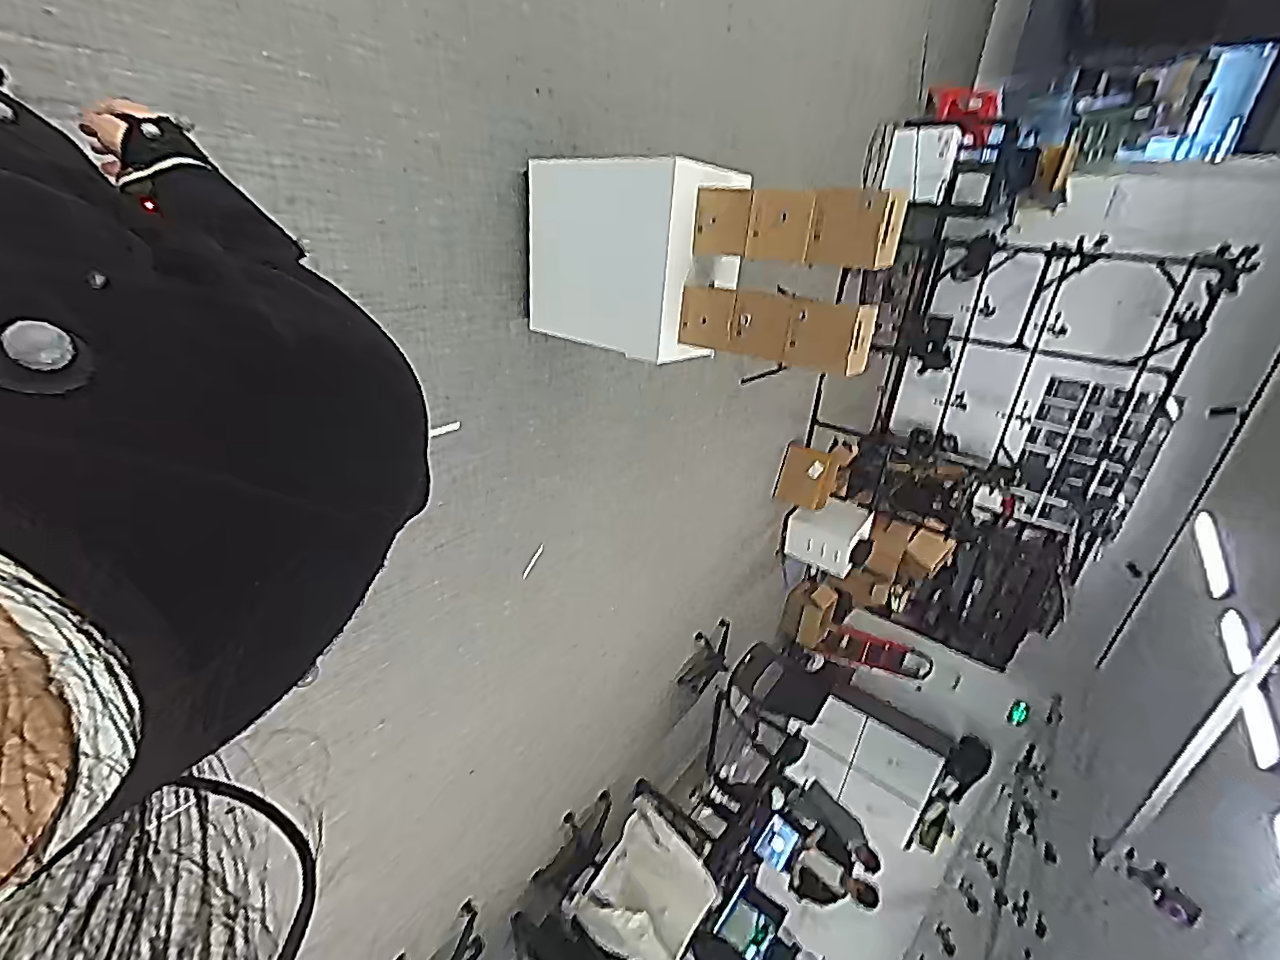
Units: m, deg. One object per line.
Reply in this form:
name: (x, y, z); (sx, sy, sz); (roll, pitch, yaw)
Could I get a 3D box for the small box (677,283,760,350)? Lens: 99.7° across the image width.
small box: (0.226, -0.480, 1.581); (0.179, 0.176, 0.168); (-23, 125, -47)

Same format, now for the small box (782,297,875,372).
small box: (0.487, -0.382, 1.408); (0.179, 0.176, 0.168); (-23, 125, -50)

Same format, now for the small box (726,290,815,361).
small box: (0.360, -0.433, 1.499); (0.179, 0.176, 0.168); (-23, 125, -47)

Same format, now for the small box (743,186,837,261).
small box: (0.384, -0.662, 1.402); (0.179, 0.176, 0.168); (-27, 130, -47)
